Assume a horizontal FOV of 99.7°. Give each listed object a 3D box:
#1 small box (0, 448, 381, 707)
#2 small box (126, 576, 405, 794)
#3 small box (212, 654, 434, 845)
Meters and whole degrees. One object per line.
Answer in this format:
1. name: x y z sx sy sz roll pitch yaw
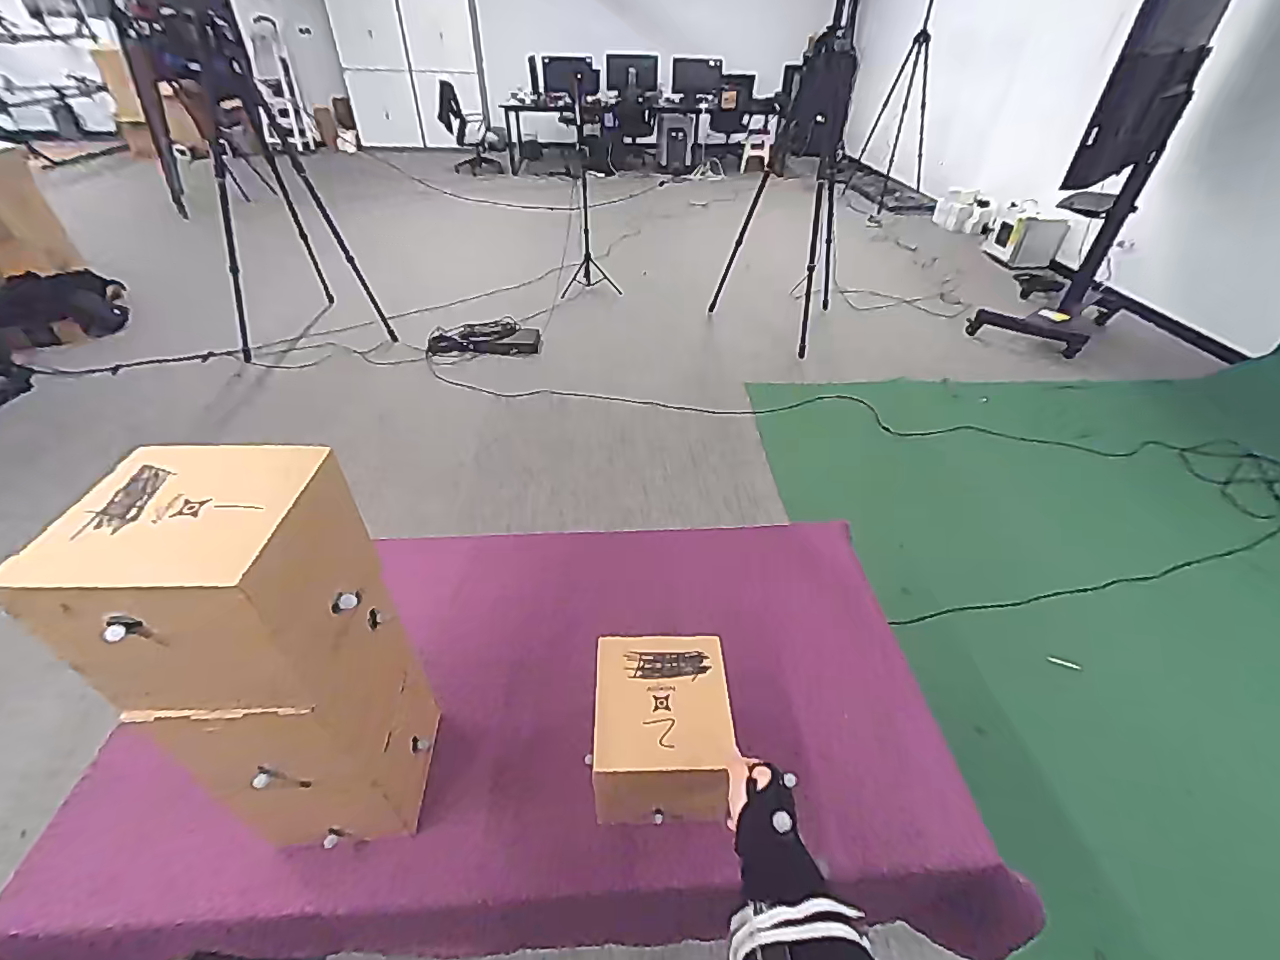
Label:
1. small box: -0.365 0.087 0.485 0.179 0.176 0.168 1 40 -3
2. small box: -0.375 0.214 0.589 0.168 0.176 0.179 -1 40 -3
3. small box: -0.379 0.343 0.692 0.179 0.176 0.168 -1 39 -5
